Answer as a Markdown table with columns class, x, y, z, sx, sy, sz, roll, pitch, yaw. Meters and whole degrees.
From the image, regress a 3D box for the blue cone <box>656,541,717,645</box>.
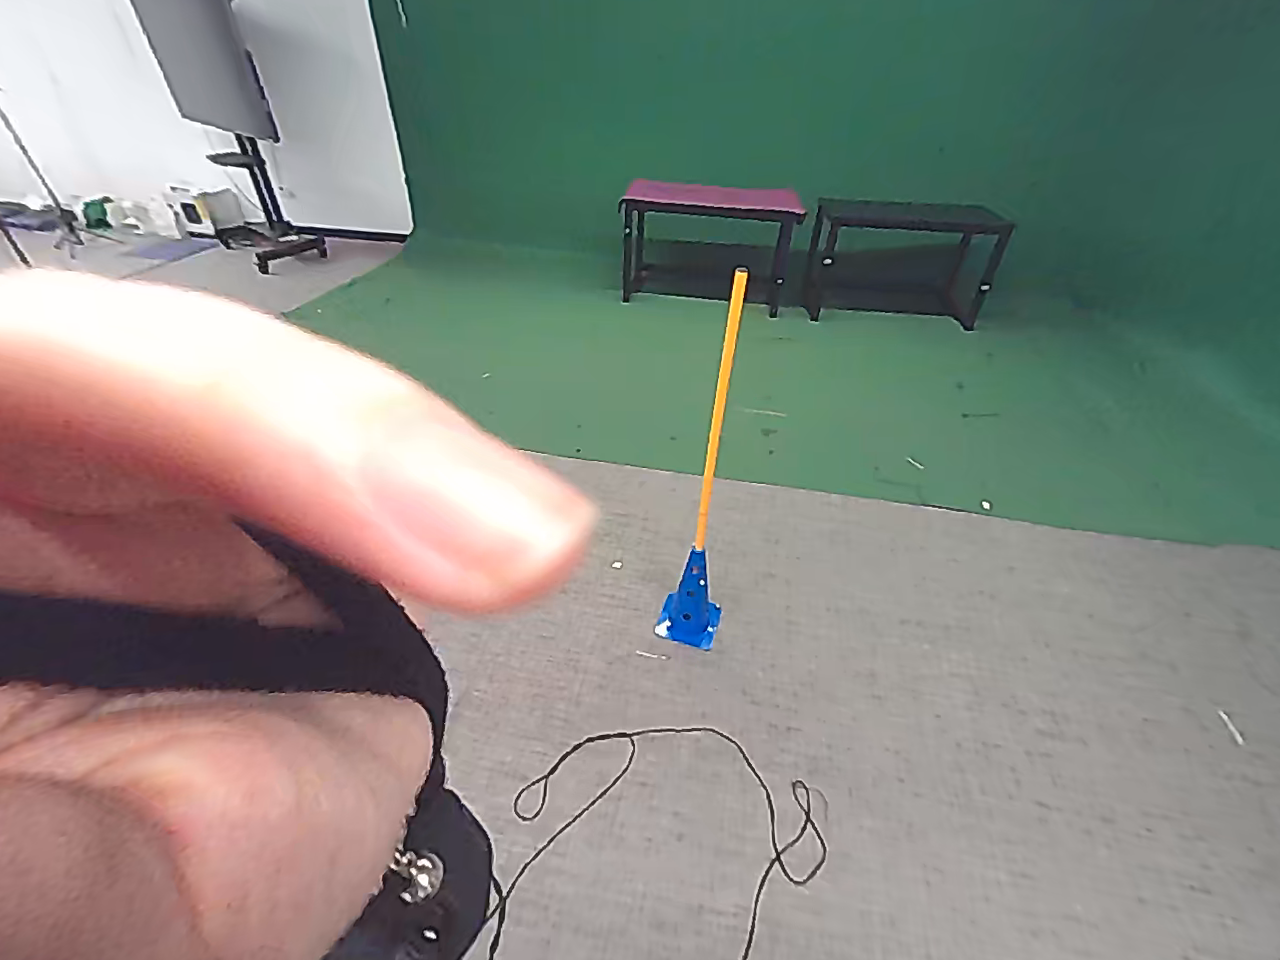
| class | x | y | z | sx | sy | sz | roll | pitch | yaw |
| --- | --- | --- | --- | --- | --- | --- | --- | --- | --- |
| blue cone | 0.170 | 0.354 | 1.786 | 0.193 | 0.380 | 0.192 | 14 | 39 | 14 |
